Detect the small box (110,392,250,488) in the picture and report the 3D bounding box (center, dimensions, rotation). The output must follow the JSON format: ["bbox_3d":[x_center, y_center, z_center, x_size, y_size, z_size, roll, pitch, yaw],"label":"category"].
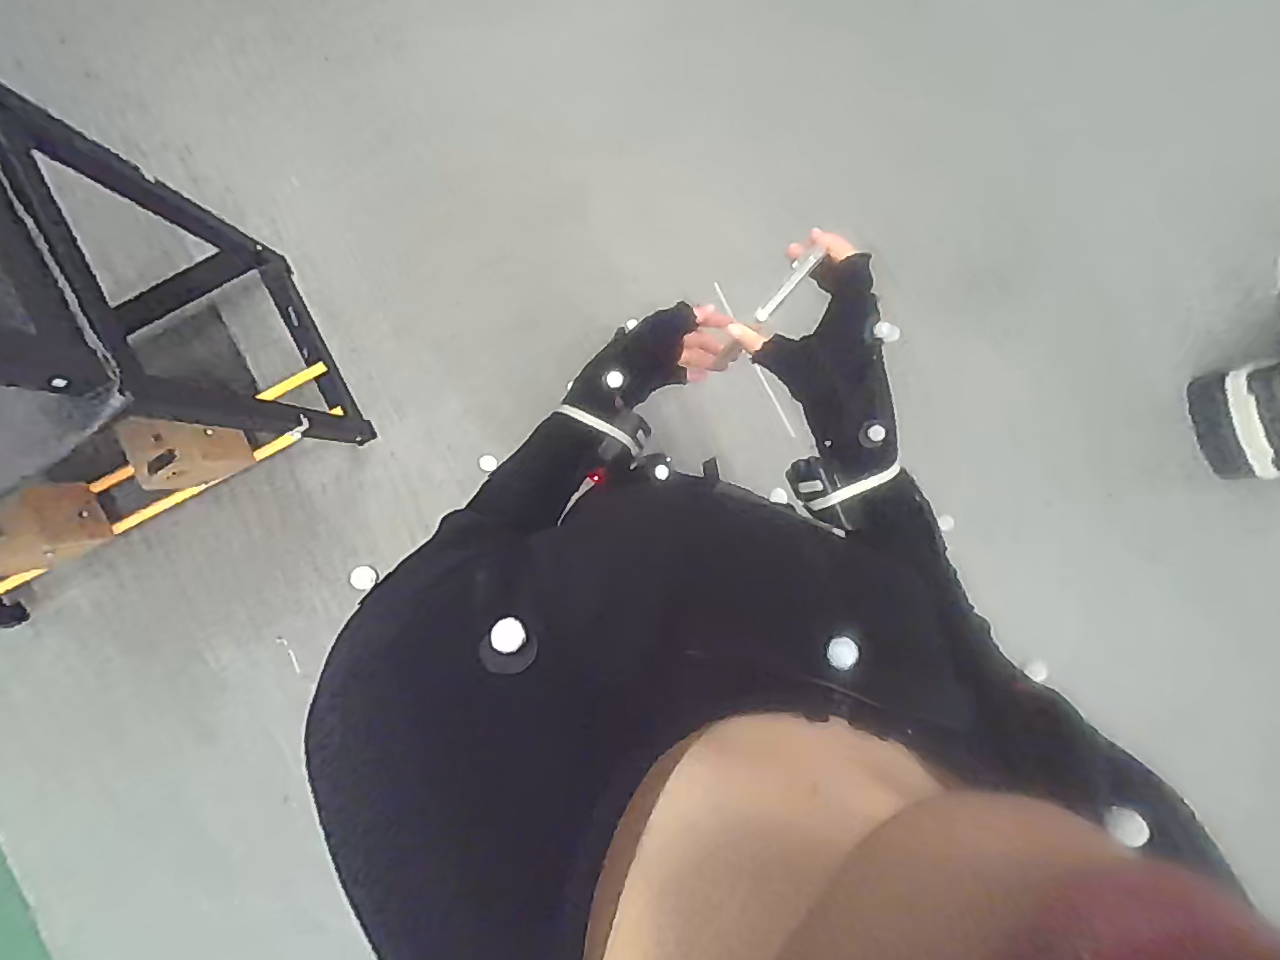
[{"bbox_3d":[-1.102,-0.094,1.313,0.168,0.176,0.179,-24,90,1],"label":"small box"}]
